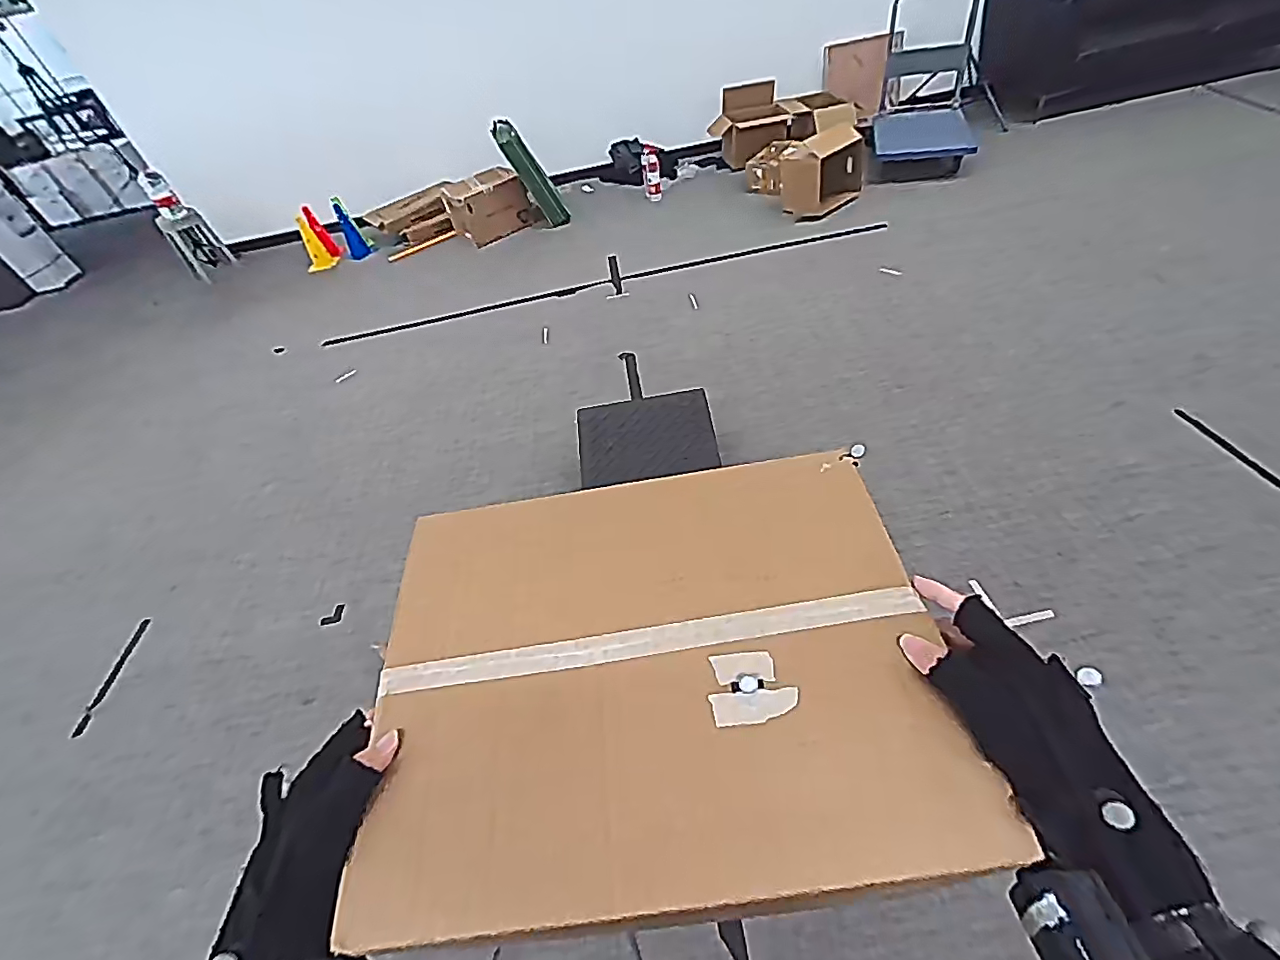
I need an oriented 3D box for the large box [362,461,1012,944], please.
[{"bbox_3d":[0.027,0.224,0.529,0.408,0.320,0.320,-9,50,2],"label":"large box"}]
